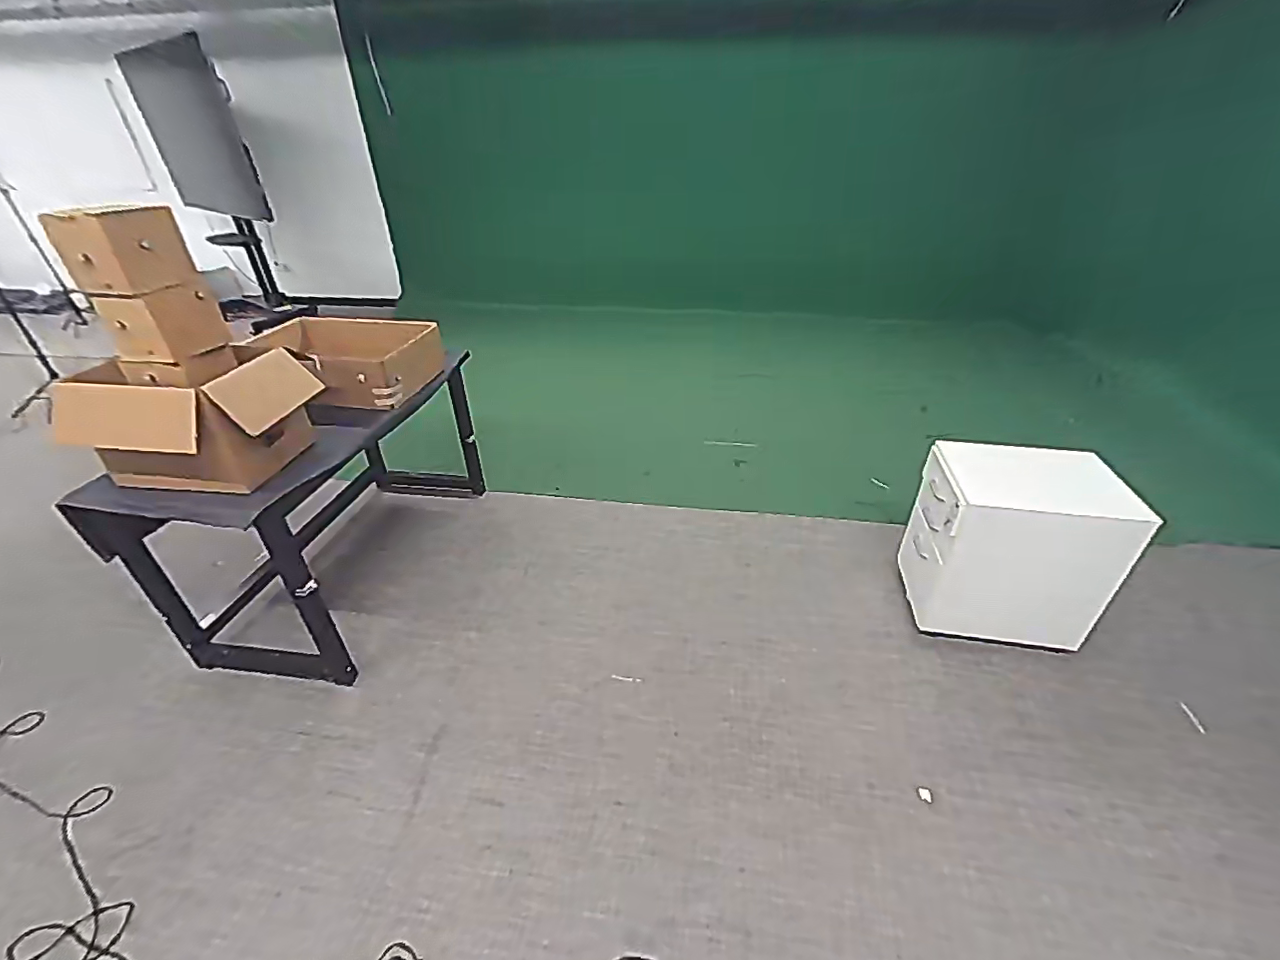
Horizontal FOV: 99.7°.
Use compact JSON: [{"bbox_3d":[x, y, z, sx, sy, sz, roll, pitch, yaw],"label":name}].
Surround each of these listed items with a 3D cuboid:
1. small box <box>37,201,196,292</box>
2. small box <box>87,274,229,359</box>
[{"bbox_3d":[-1.201,-0.545,1.259,0.168,0.176,0.179,7,34,11],"label":"small box"},{"bbox_3d":[-1.193,-0.412,1.355,0.168,0.176,0.179,8,34,12],"label":"small box"}]
